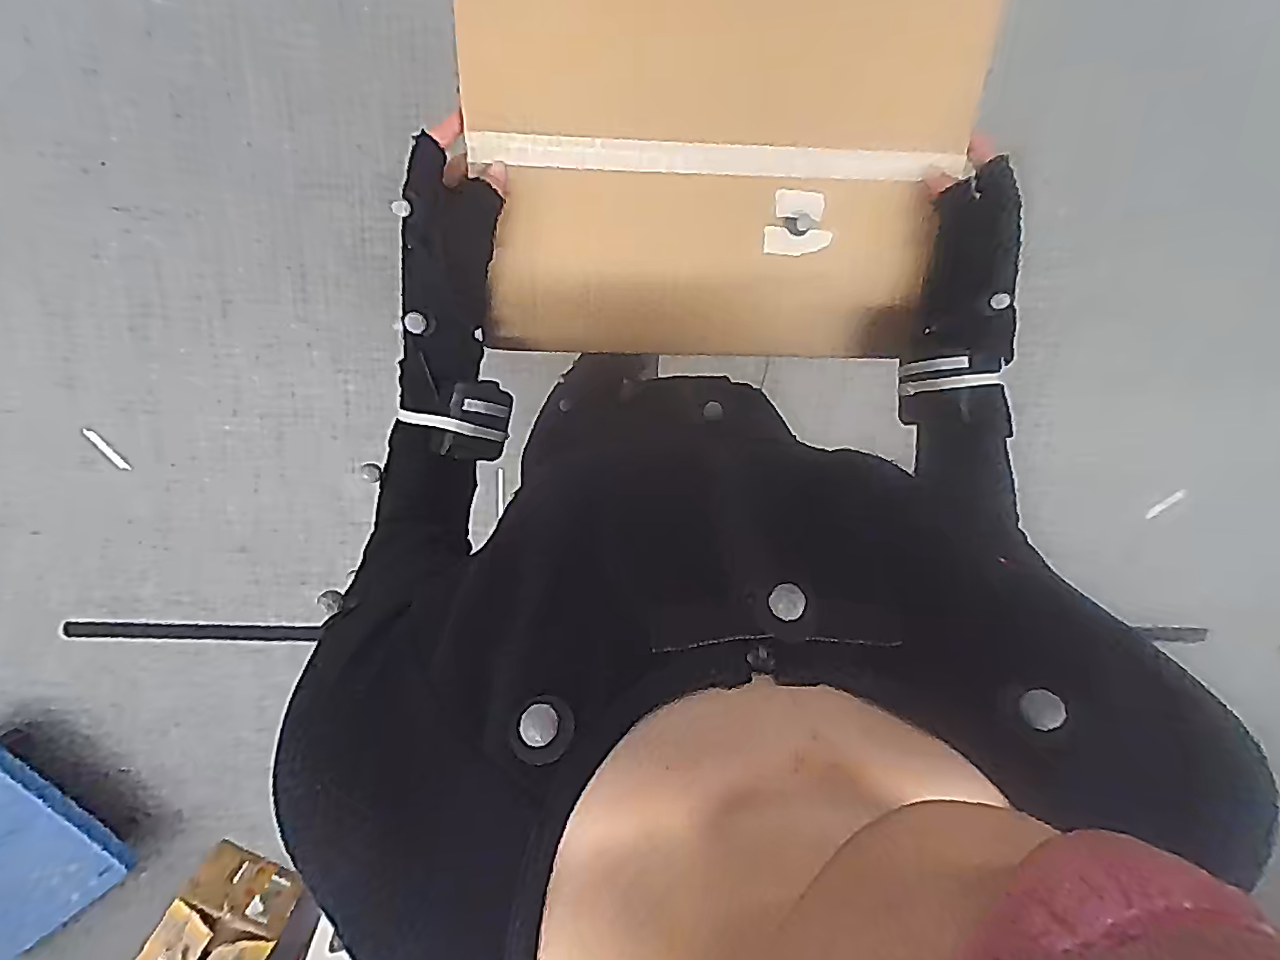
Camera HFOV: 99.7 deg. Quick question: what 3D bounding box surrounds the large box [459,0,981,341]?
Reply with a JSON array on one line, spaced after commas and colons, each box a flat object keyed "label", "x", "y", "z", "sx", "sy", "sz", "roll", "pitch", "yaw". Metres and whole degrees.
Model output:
[{"label": "large box", "x": 0.051, "y": -0.332, "z": 0.579, "sx": 0.408, "sy": 0.320, "sz": 0.320, "roll": -1, "pitch": 115, "yaw": -5}]
